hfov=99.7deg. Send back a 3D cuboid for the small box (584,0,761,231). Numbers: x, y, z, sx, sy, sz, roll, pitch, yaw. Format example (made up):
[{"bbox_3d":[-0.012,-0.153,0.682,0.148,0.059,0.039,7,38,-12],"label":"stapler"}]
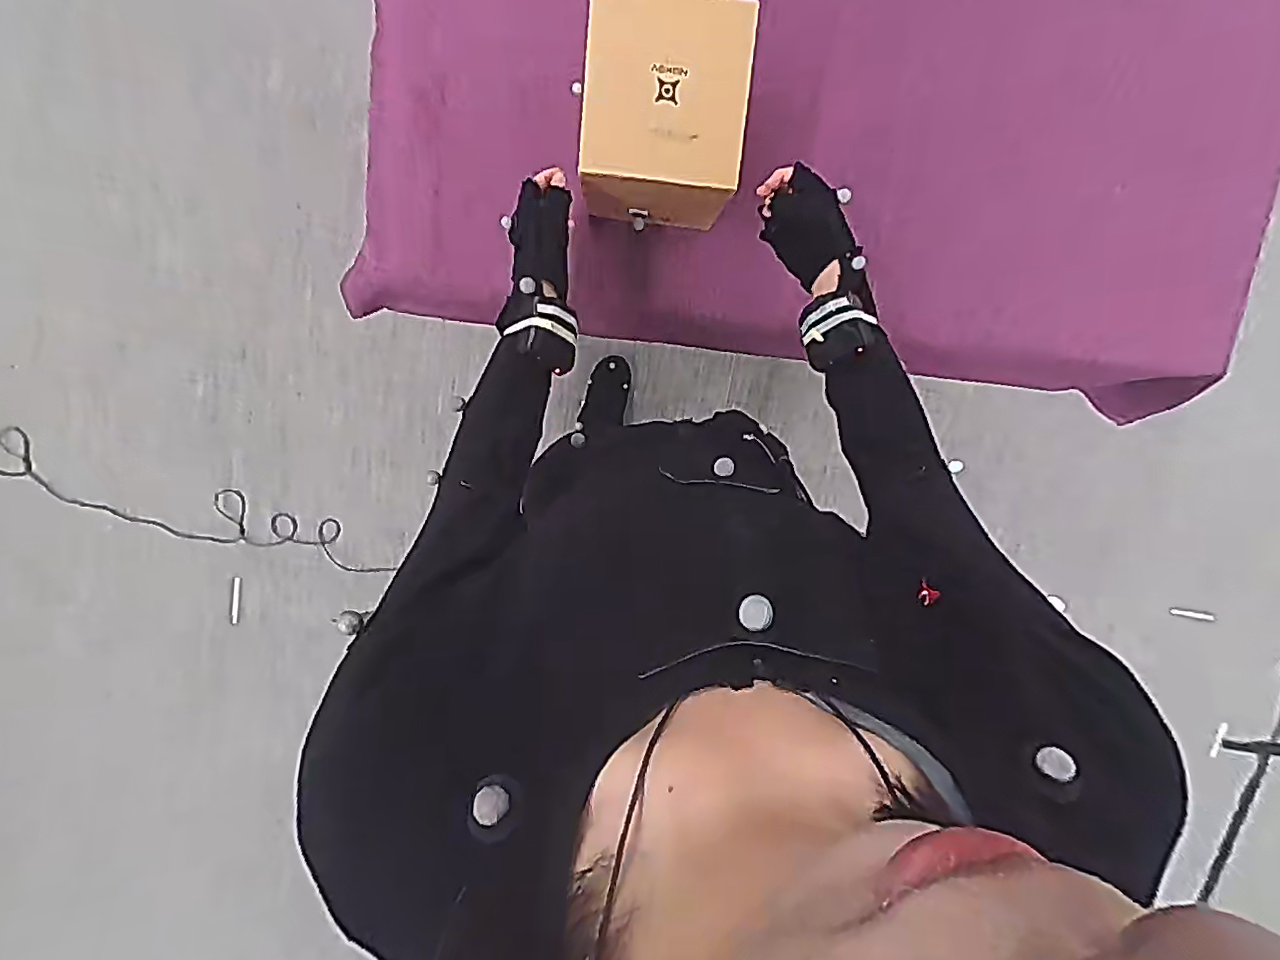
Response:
[{"bbox_3d":[0.026,-0.403,0.612,0.168,0.176,0.179,4,101,-3],"label":"small box"}]
